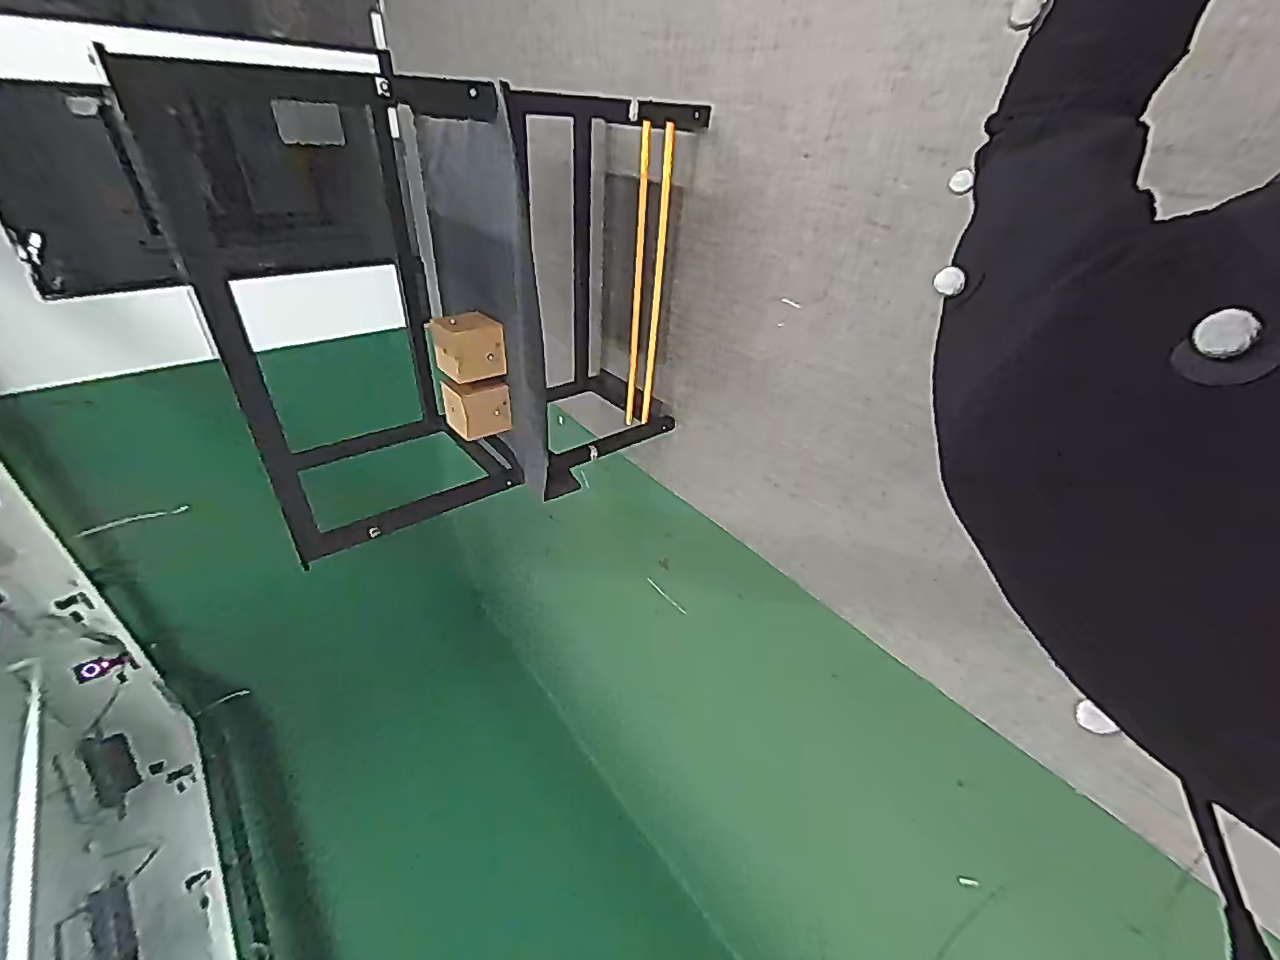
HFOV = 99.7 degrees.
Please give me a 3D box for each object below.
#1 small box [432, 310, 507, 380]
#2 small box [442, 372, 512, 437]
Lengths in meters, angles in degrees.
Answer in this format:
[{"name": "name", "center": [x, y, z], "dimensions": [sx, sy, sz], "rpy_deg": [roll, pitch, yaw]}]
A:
[{"name": "small box", "center": [-0.551, -0.444, 1.756], "dimensions": [0.179, 0.176, 0.168], "rpy_deg": [35, 136, 39]}, {"name": "small box", "center": [-0.560, -0.271, 1.864], "dimensions": [0.179, 0.176, 0.168], "rpy_deg": [34, 135, 39]}]
